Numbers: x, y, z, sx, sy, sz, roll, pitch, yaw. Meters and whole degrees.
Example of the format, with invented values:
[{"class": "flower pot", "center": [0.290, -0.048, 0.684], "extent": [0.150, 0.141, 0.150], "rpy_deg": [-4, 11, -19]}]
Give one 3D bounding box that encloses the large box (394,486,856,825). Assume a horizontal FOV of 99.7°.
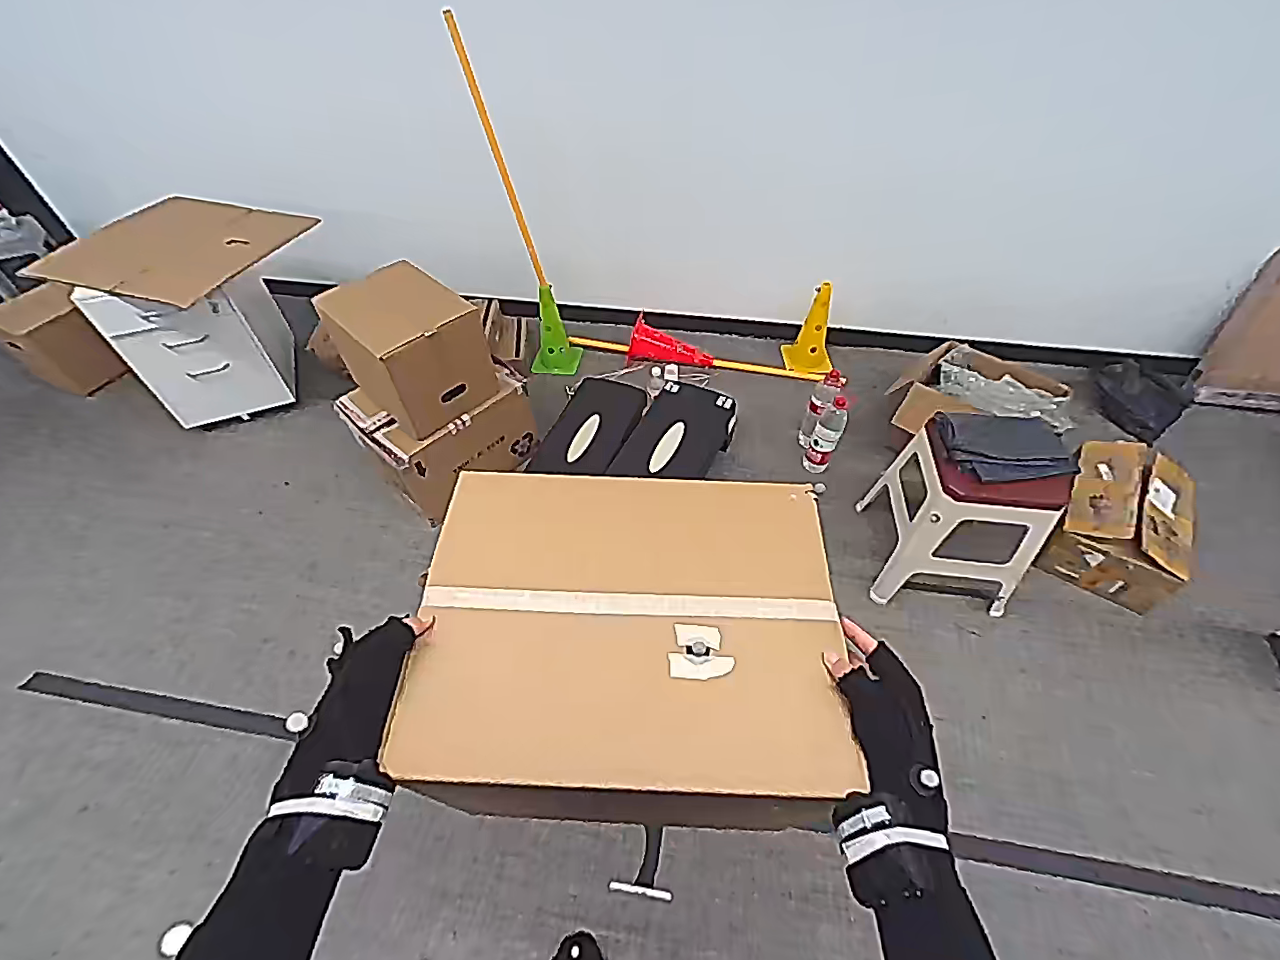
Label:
[{"class": "large box", "center": [-0.013, 0.225, 0.664], "extent": [0.408, 0.320, 0.320], "rpy_deg": [3, 54, 0]}]
